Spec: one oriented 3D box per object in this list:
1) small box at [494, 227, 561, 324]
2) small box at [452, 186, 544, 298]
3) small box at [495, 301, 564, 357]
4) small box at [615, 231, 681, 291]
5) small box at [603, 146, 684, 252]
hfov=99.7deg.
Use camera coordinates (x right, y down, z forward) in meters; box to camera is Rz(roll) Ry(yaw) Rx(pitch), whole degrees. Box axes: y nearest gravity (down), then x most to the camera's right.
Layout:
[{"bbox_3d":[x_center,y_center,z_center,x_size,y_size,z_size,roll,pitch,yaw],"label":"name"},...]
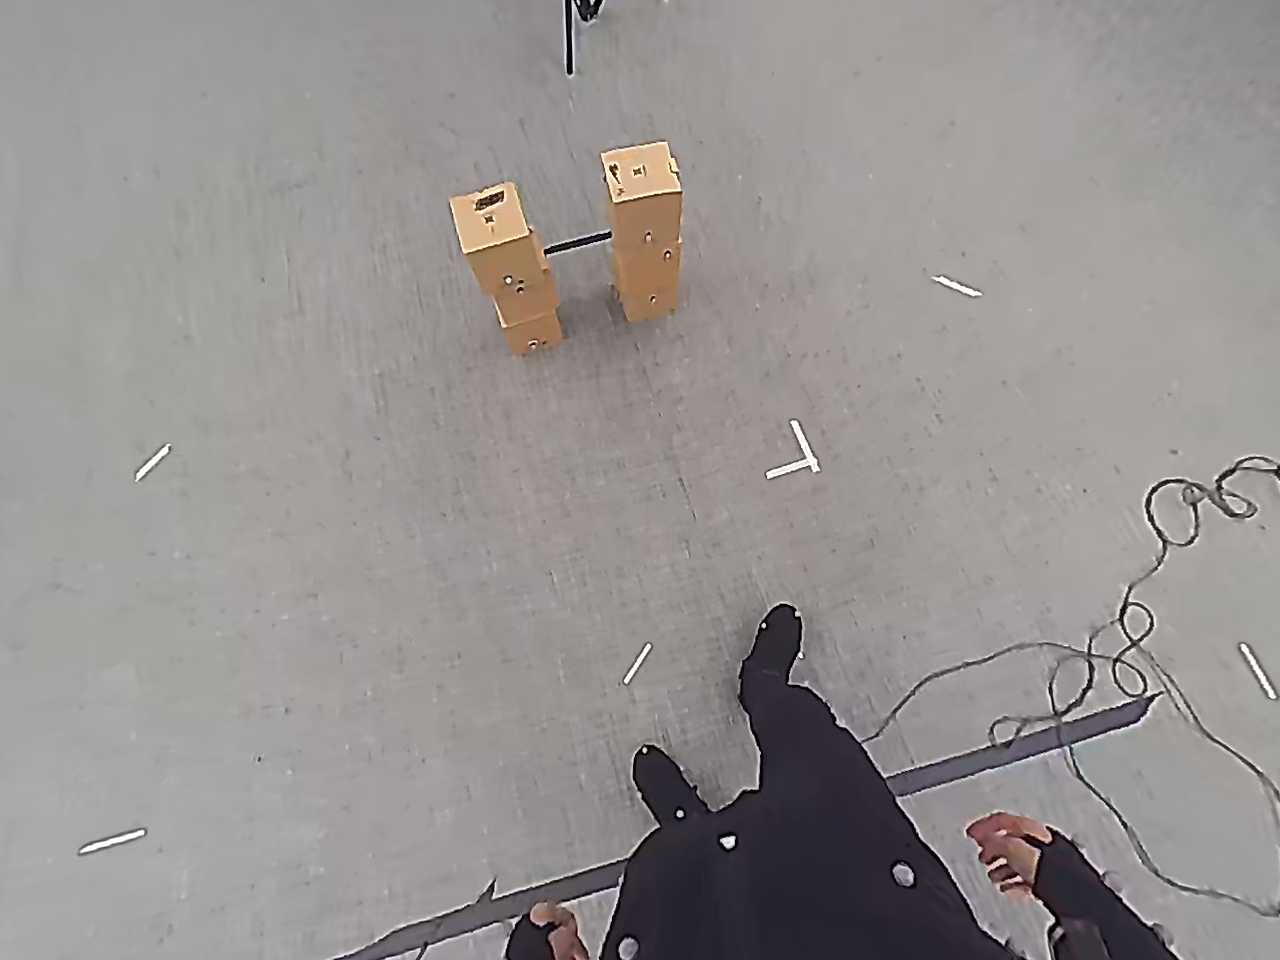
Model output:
[{"bbox_3d":[-0.343,-0.576,1.541,0.179,0.176,0.168,-21,72,-4],"label":"small box"},{"bbox_3d":[-0.356,-0.600,1.377,0.168,0.176,0.179,-18,73,-2],"label":"small box"},{"bbox_3d":[-0.349,-0.518,1.695,0.168,0.176,0.179,-20,73,-4],"label":"small box"},{"bbox_3d":[0.017,-0.671,1.562,0.179,0.176,0.168,-11,72,-2],"label":"small box"},{"bbox_3d":[0.006,-0.726,1.408,0.179,0.176,0.168,-11,71,-3],"label":"small box"}]
